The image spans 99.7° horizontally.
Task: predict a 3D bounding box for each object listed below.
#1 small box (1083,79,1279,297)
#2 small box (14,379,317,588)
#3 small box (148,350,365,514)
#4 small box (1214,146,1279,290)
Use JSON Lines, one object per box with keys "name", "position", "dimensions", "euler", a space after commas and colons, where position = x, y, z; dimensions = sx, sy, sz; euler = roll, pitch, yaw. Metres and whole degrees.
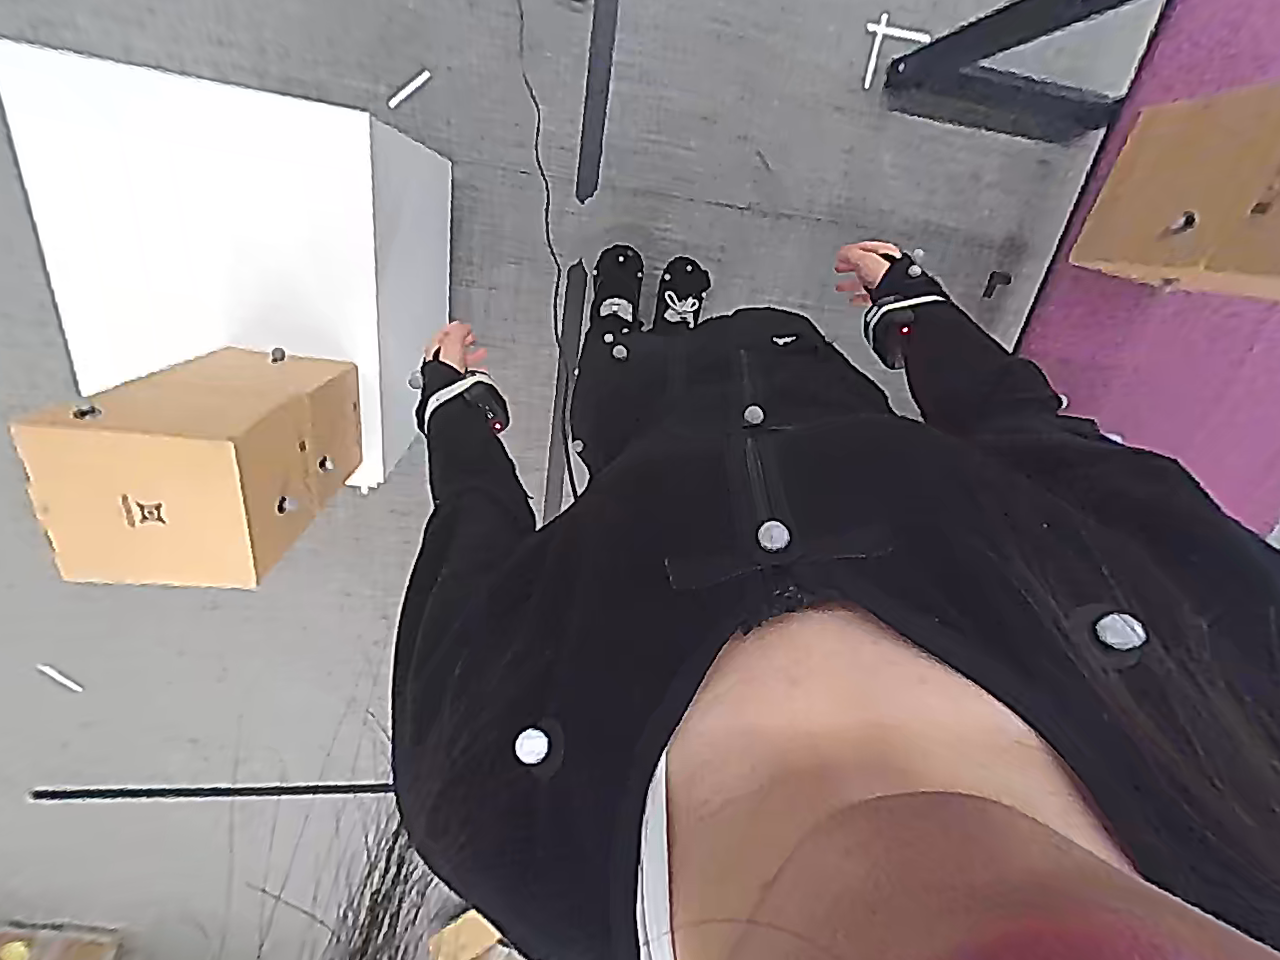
{"name": "small box", "position": [0.667, -0.320, 0.616], "dimensions": [0.168, 0.176, 0.179], "euler": [8, 114, -12]}
{"name": "small box", "position": [-0.470, -0.003, 0.578], "dimensions": [0.179, 0.176, 0.168], "euler": [4, 114, -9]}
{"name": "small box", "position": [-0.492, -0.071, 0.725], "dimensions": [0.179, 0.176, 0.168], "euler": [6, 114, -9]}
{"name": "small box", "position": [0.696, -0.246, 0.471], "dimensions": [0.179, 0.176, 0.168], "euler": [8, 114, -10]}
